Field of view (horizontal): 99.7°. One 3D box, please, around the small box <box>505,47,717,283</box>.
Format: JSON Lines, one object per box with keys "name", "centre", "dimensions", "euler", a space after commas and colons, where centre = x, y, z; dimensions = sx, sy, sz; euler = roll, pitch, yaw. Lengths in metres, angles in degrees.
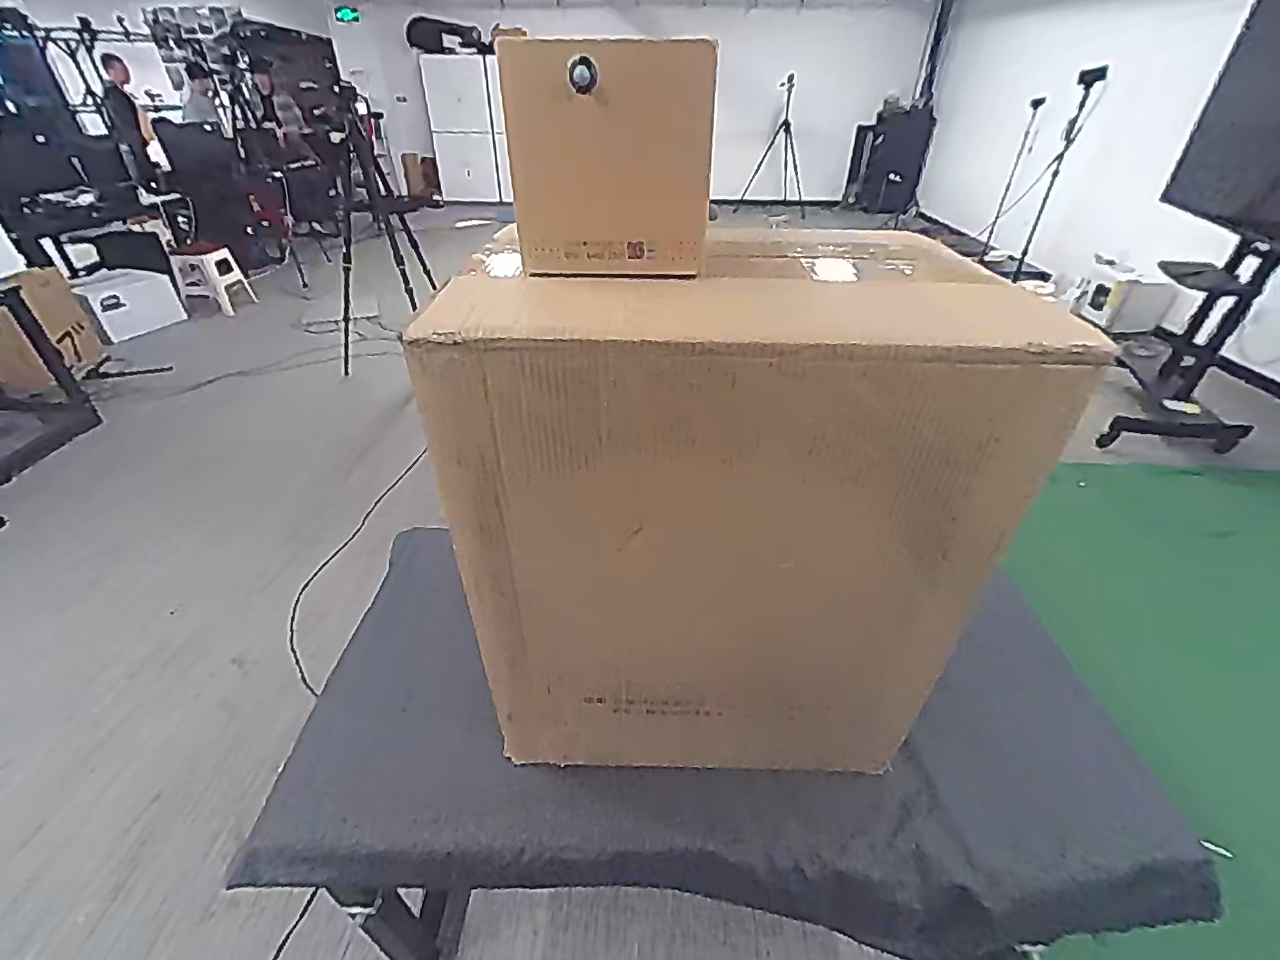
{"name": "small box", "centre": [-0.020, -0.298, 0.519], "dimensions": [0.168, 0.176, 0.179], "euler": [1, 34, 2]}
